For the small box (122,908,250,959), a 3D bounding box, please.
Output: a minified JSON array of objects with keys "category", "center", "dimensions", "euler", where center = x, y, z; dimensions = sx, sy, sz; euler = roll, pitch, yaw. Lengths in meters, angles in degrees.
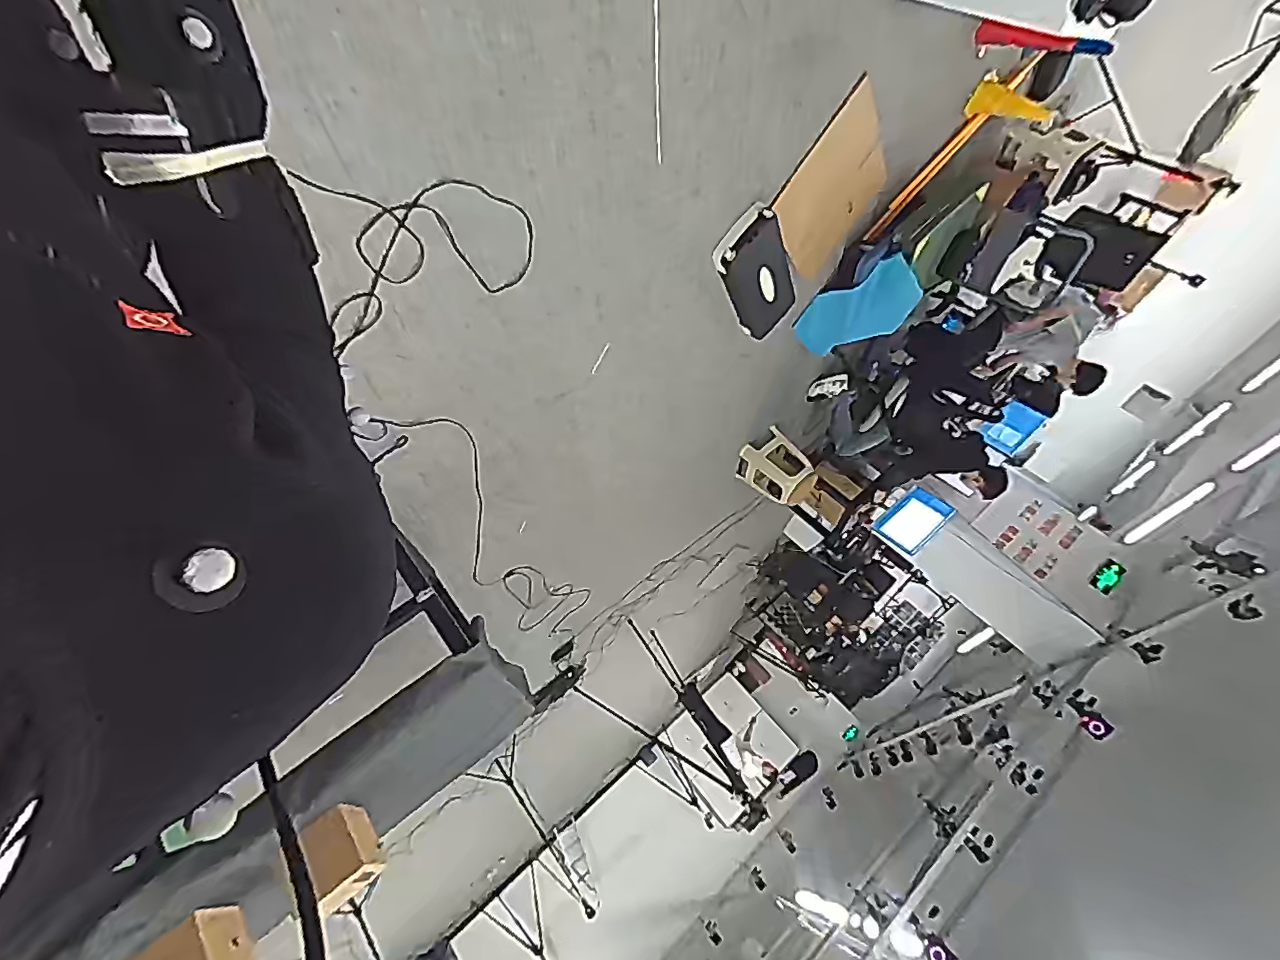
[{"category":"small box","center":[-1.045,1.118,1.231],"dimensions":[0.179,0.176,0.168],"euler":[-34,152,-22]}]
